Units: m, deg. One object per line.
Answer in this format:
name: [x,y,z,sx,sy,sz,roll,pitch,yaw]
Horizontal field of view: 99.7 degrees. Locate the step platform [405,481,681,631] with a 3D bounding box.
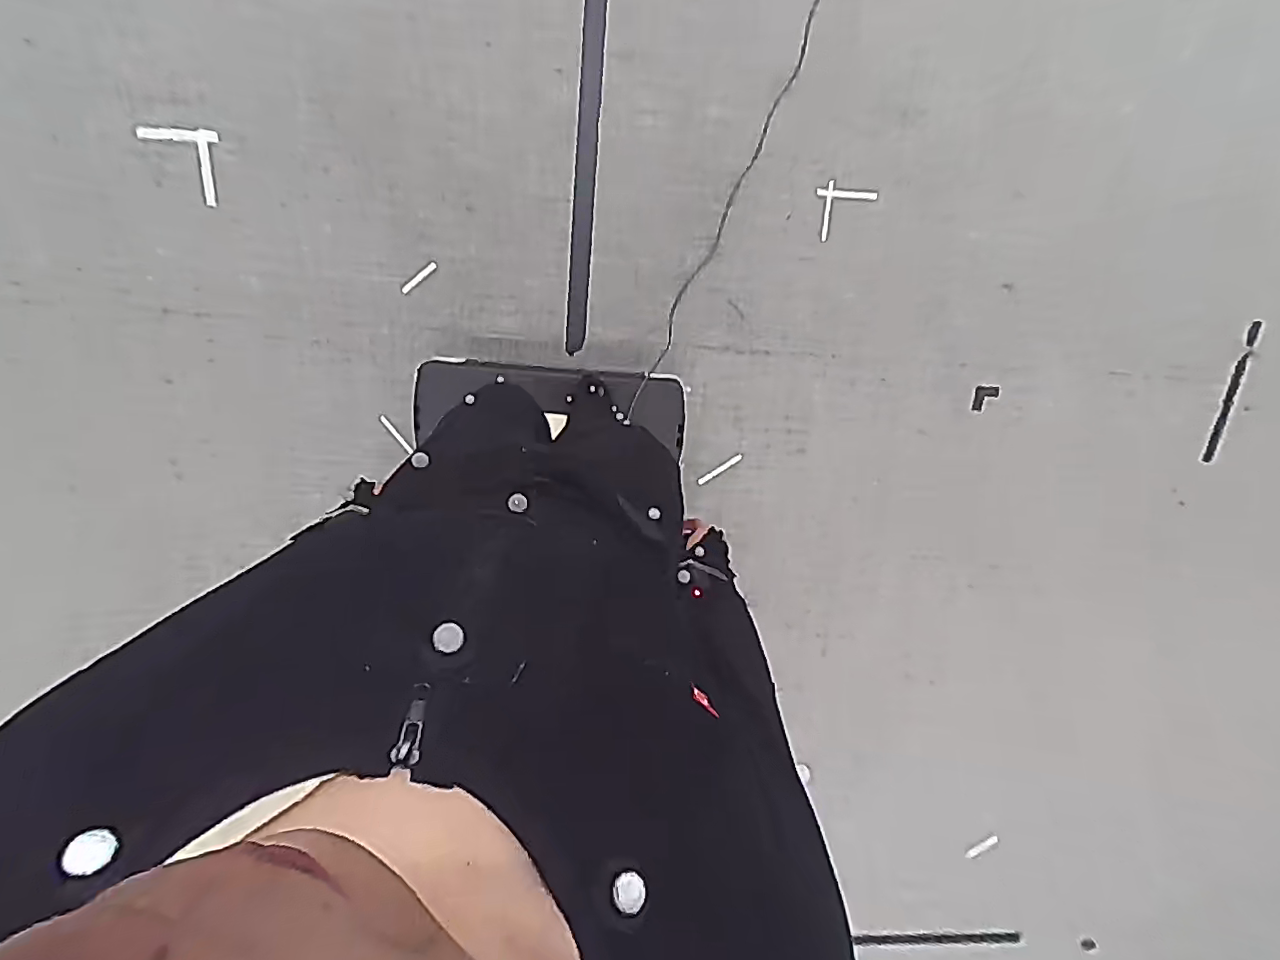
step platform: [-0.237,0.194,1.397,0.684,0.204,0.286,8,101,-4]
